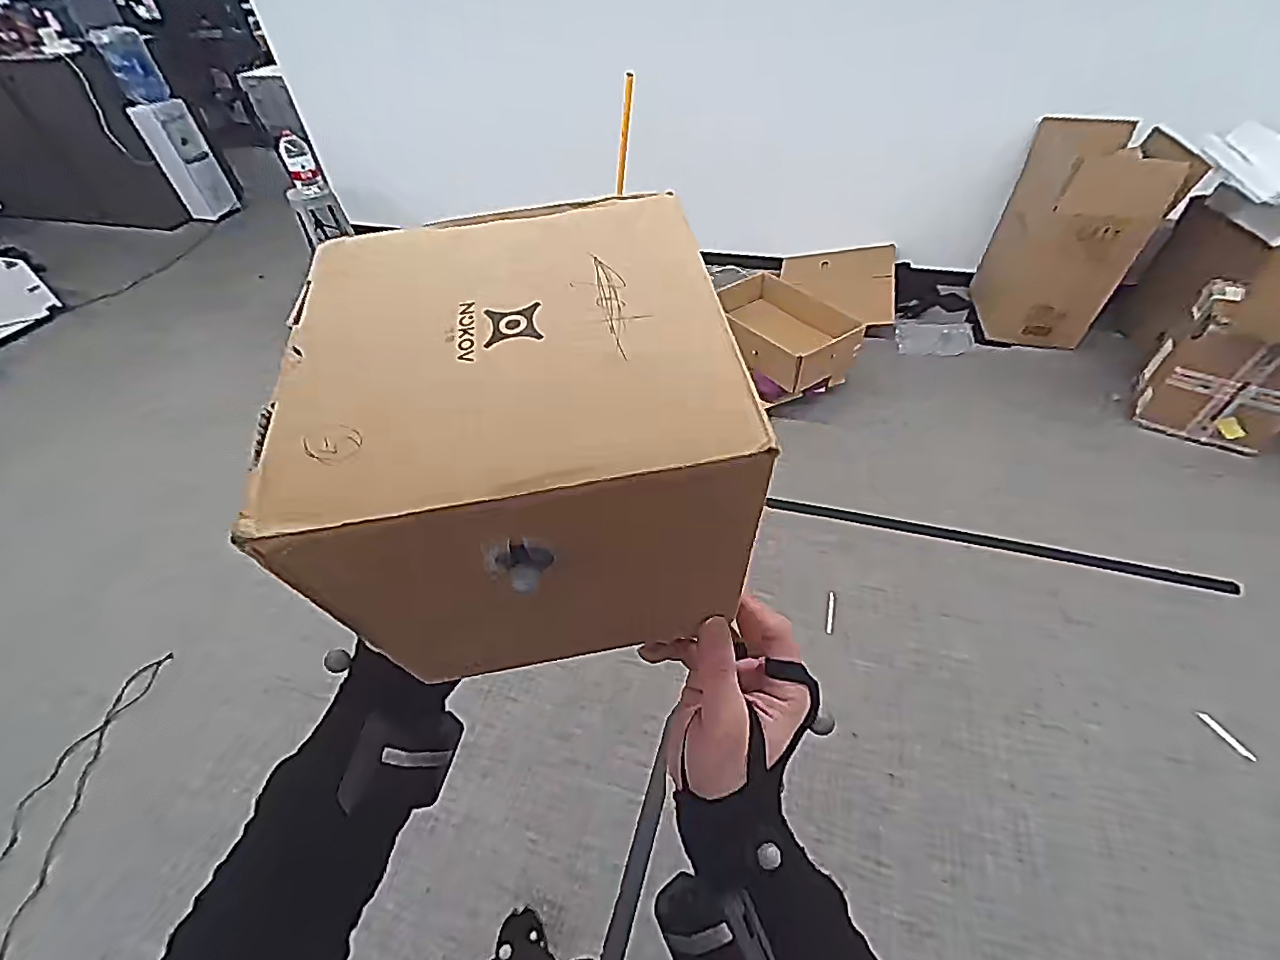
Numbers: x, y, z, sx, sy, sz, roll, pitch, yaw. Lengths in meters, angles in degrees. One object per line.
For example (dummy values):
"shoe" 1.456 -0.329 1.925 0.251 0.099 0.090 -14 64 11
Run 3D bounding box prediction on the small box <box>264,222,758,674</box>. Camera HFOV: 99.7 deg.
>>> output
"small box" -0.050 -0.008 0.296 0.179 0.176 0.168 -10 55 -4
